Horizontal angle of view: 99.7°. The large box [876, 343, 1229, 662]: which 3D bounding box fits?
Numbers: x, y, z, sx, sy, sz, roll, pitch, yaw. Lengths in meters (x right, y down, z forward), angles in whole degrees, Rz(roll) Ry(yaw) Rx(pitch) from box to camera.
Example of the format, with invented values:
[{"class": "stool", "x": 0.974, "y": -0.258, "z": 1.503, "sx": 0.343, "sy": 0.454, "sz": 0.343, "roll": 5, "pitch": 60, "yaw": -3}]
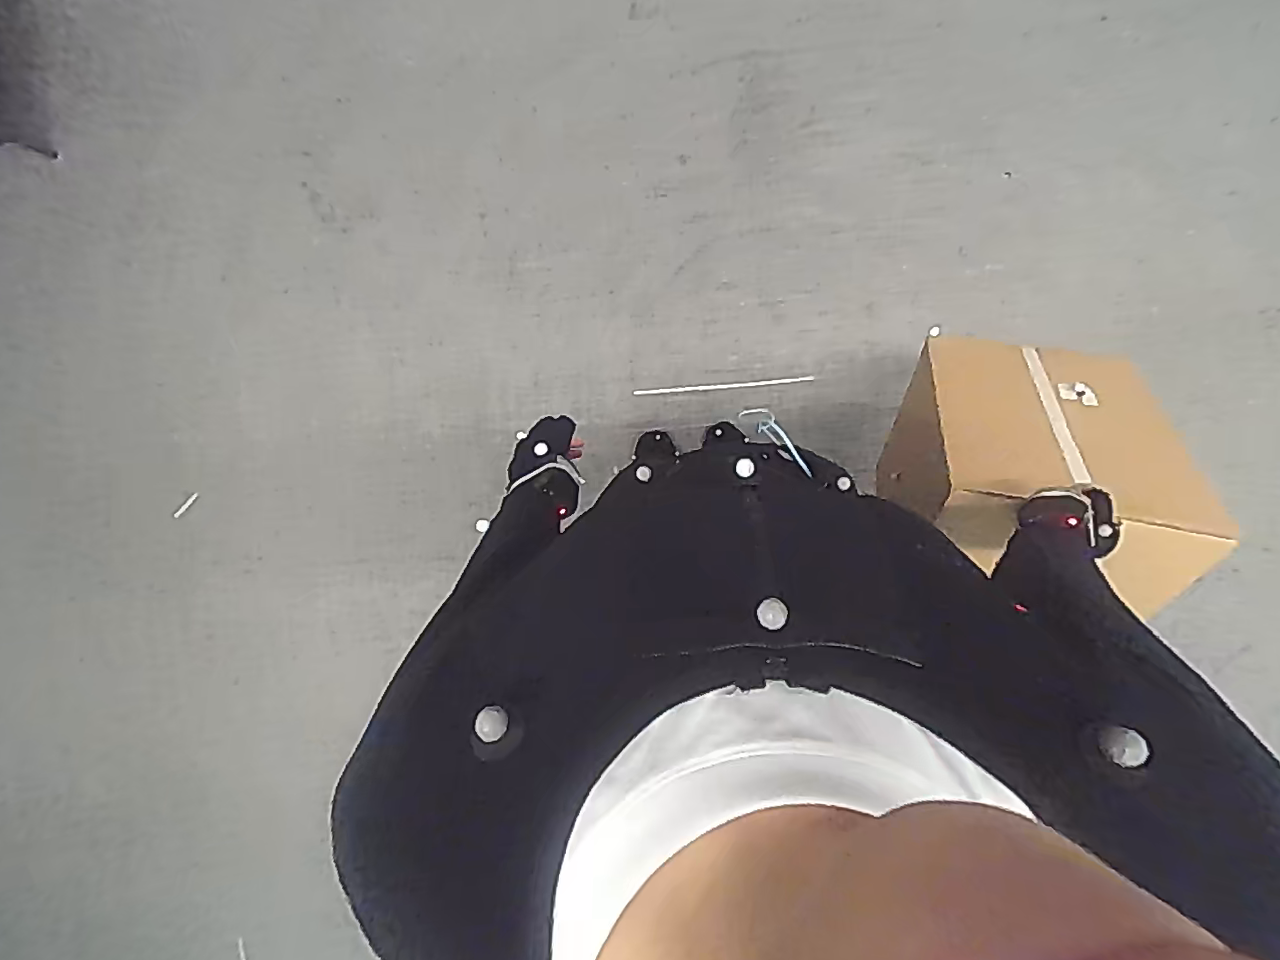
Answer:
[{"class": "large box", "x": 0.597, "y": 0.022, "z": 0.897, "sx": 0.320, "sy": 0.408, "sz": 0.320, "roll": 12, "pitch": 135, "yaw": 11}]
